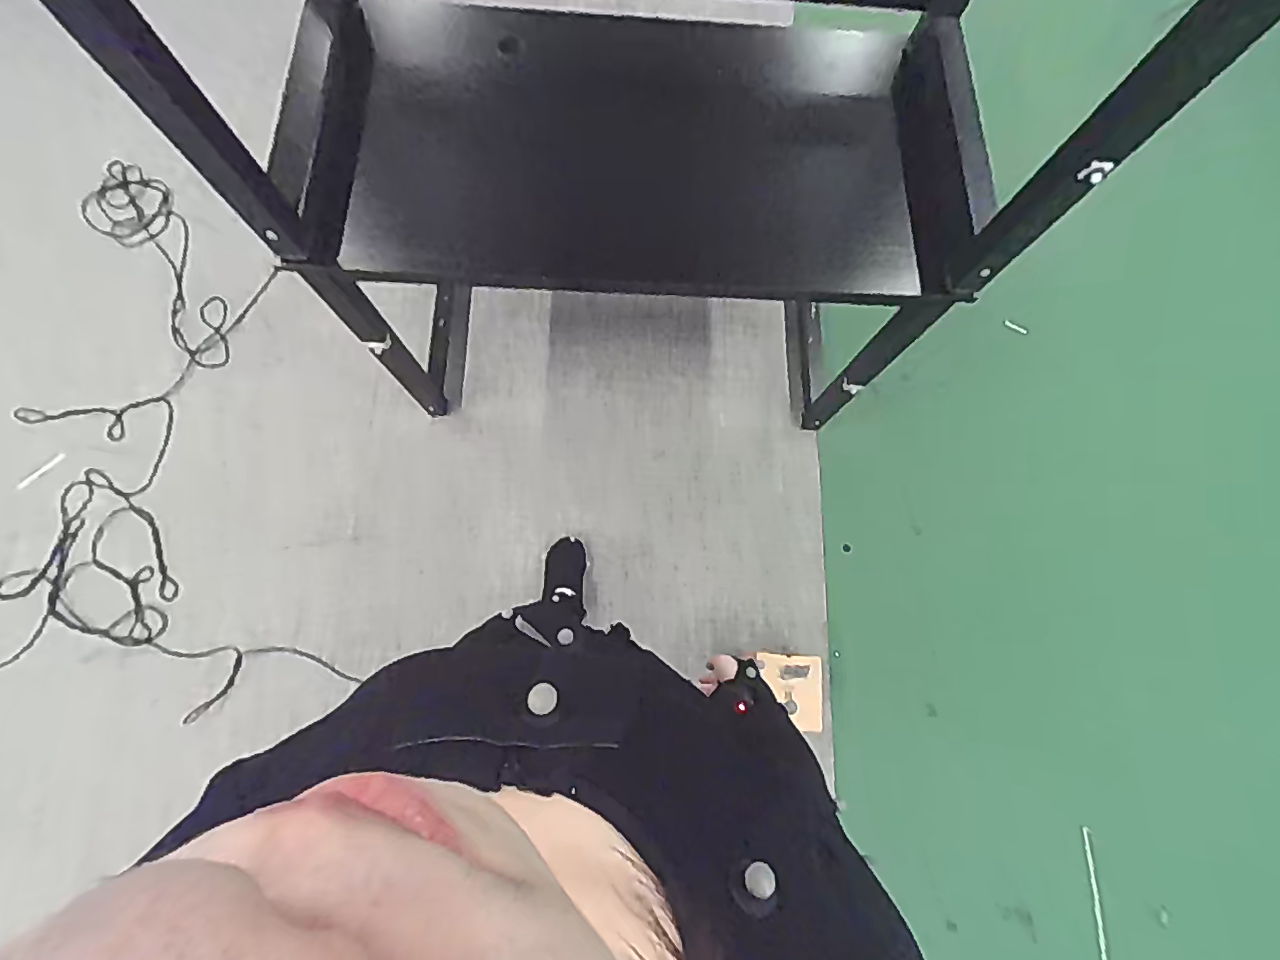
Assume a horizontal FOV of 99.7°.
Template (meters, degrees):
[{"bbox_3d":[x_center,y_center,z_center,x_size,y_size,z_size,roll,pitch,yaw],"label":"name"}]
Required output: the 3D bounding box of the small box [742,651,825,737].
[{"bbox_3d":[0.359,0.536,1.374,0.168,0.176,0.179,5,77,-1],"label":"small box"}]
